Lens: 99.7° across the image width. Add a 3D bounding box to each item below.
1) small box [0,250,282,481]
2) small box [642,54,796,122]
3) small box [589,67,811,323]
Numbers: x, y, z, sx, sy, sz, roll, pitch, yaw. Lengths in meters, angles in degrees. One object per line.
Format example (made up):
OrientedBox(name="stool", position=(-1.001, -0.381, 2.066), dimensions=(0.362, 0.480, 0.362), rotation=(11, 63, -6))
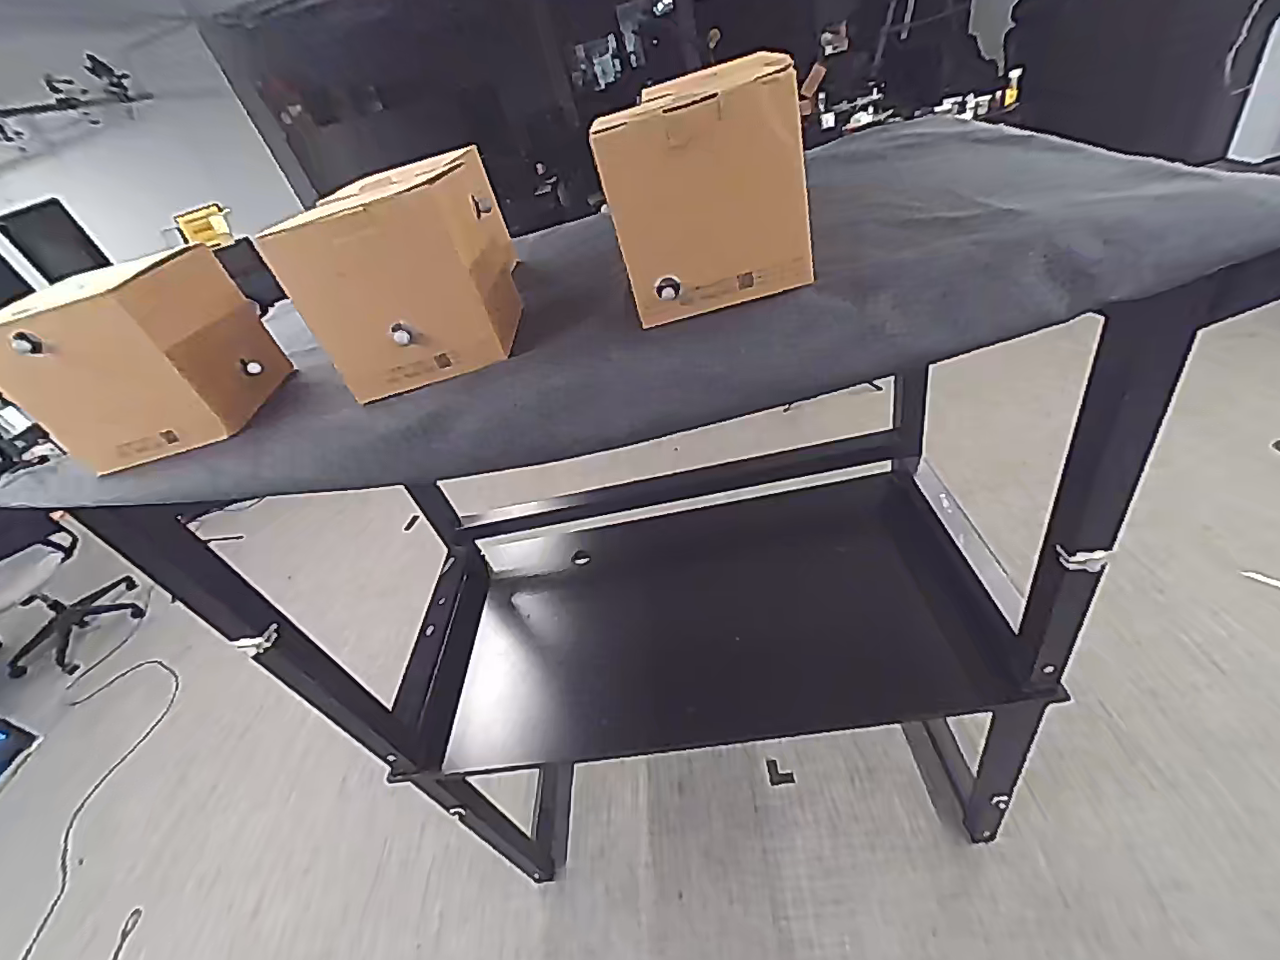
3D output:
OrientedBox(name="small box", position=(-0.543, -0.127, 0.596), dimensions=(0.168, 0.176, 0.179), rotation=(-16, 38, 3))
OrientedBox(name="small box", position=(0.101, -0.417, 0.692), dimensions=(0.168, 0.176, 0.179), rotation=(-12, 39, 9))
OrientedBox(name="small box", position=(0.058, -0.269, 0.522), dimensions=(0.168, 0.176, 0.179), rotation=(-13, 36, 8))
